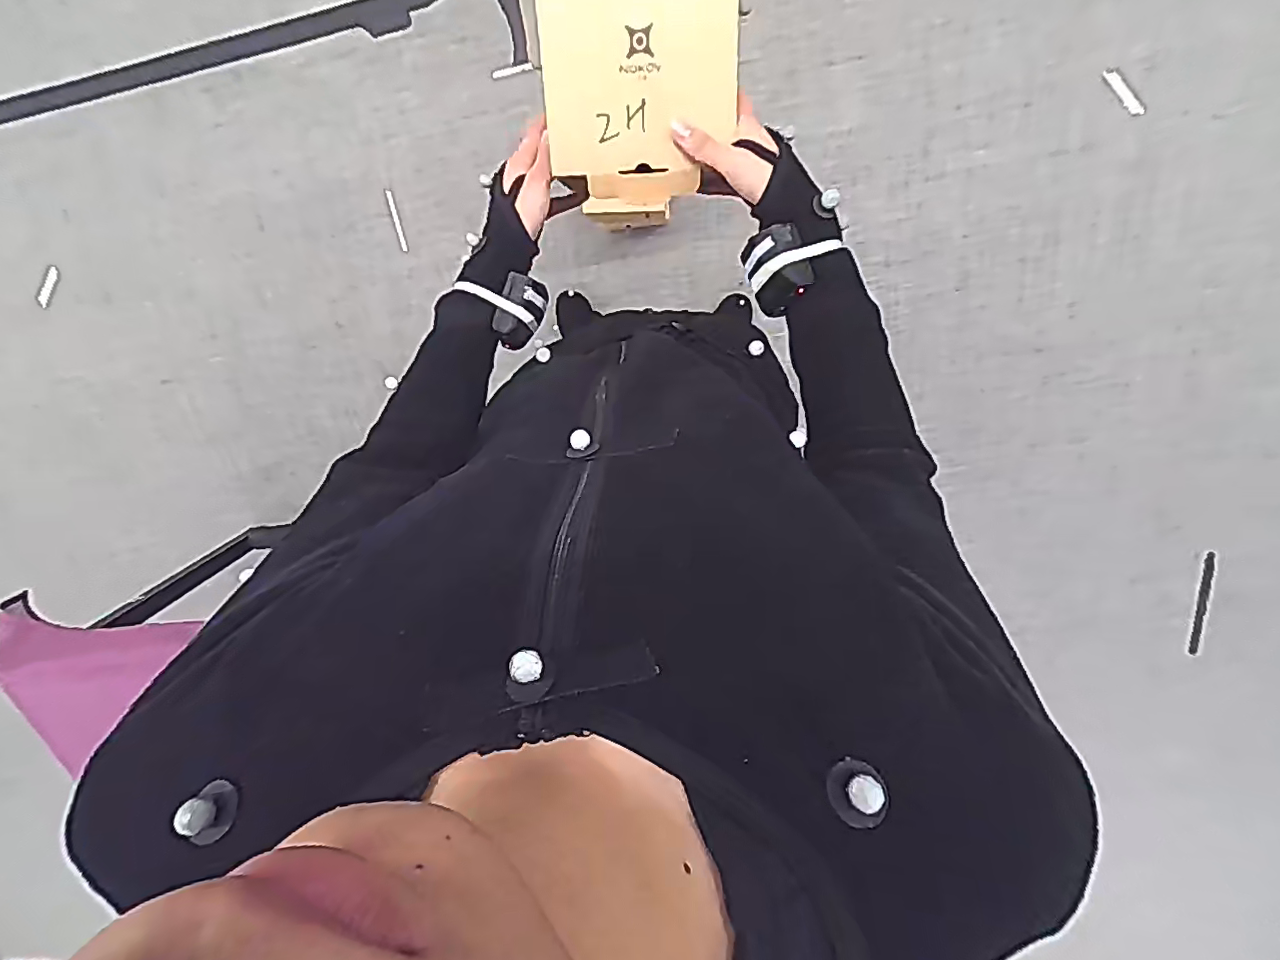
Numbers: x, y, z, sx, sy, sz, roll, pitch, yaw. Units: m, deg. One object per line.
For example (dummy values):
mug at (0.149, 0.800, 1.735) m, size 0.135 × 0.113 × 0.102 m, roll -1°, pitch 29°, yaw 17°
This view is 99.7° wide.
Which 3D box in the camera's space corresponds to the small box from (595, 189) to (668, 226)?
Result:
small box at (-0.019, -0.723, 1.319) m, size 0.168 × 0.176 × 0.179 m, roll -4°, pitch 111°, yaw 5°

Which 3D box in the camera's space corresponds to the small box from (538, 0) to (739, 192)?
small box at (0.000, -0.388, 0.521) m, size 0.168 × 0.176 × 0.179 m, roll -1°, pitch 113°, yaw 3°
